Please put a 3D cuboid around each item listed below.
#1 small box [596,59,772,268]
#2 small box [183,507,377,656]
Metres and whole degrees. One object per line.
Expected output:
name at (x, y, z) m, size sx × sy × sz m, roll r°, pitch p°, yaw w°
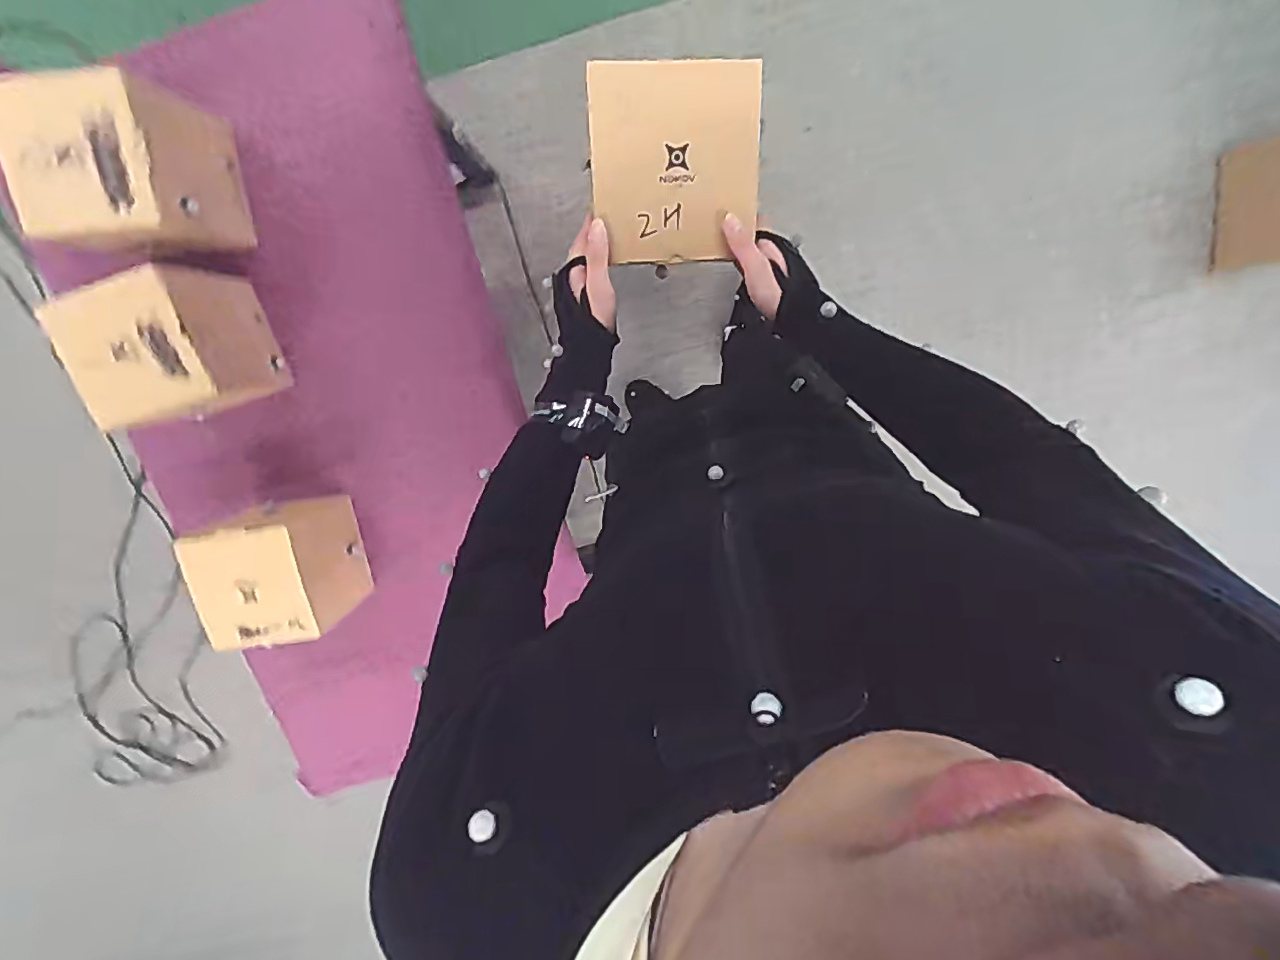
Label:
small box at (0.036, -0.332, 0.601) m, size 0.168 × 0.176 × 0.179 m, roll -2°, pitch 111°, yaw -4°
small box at (-0.545, 0.147, 0.845) m, size 0.168 × 0.176 × 0.179 m, roll -8°, pitch 103°, yaw 3°
